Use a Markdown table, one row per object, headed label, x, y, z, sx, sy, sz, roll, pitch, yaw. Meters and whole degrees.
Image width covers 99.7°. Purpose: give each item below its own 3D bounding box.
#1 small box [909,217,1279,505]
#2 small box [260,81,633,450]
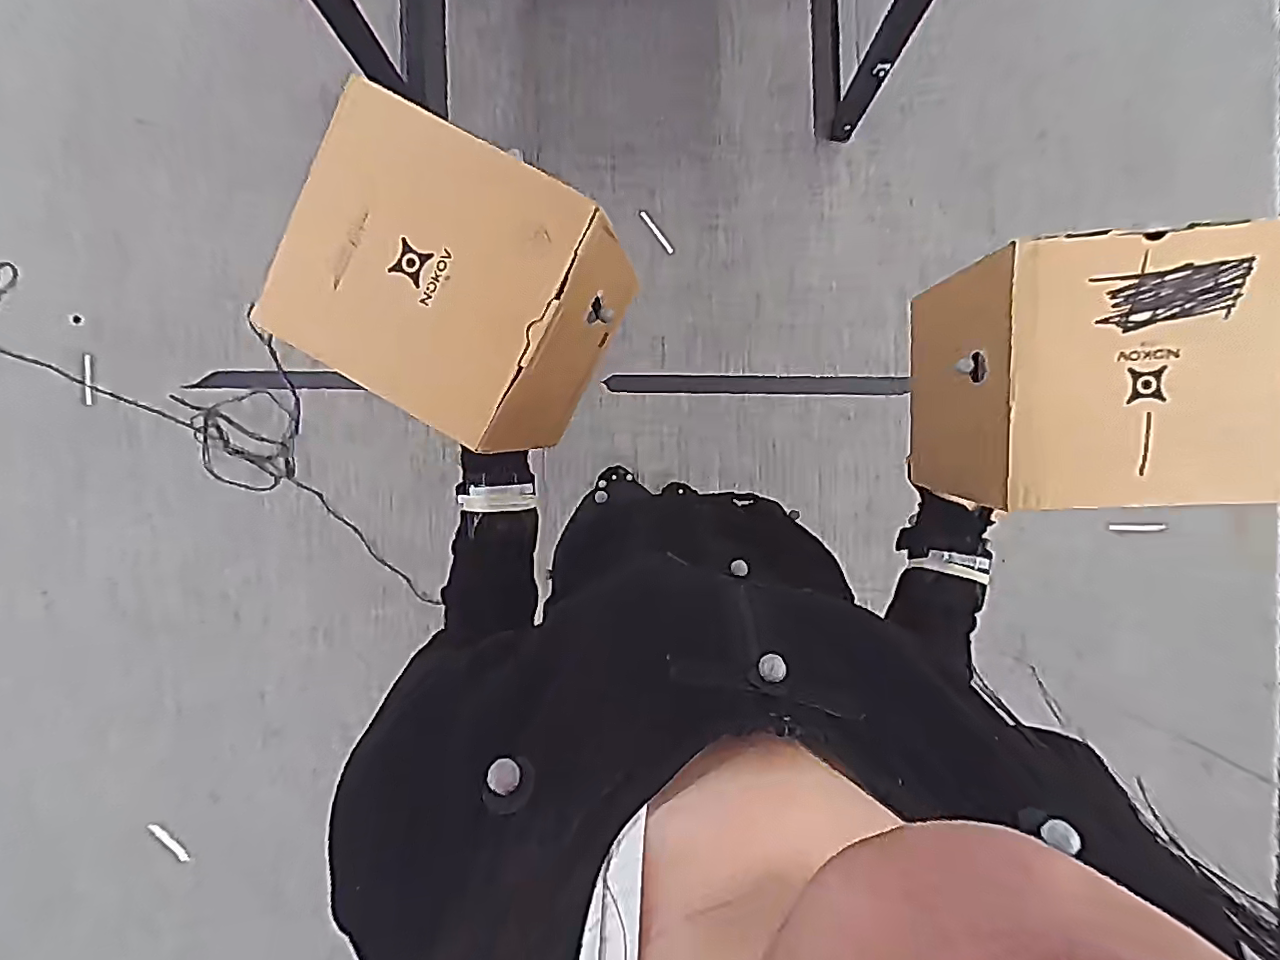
| label | x | y | z | sx | sy | sz | roll | pitch | yaw |
| --- | --- | --- | --- | --- | --- | --- | --- | --- | --- |
| small box | 0.327 | -0.081 | 0.424 | 0.168 | 0.176 | 0.179 | -2 | 97 | 6 |
| small box | -0.121 | -0.137 | 0.409 | 0.179 | 0.176 | 0.168 | 29 | 98 | 5 |
